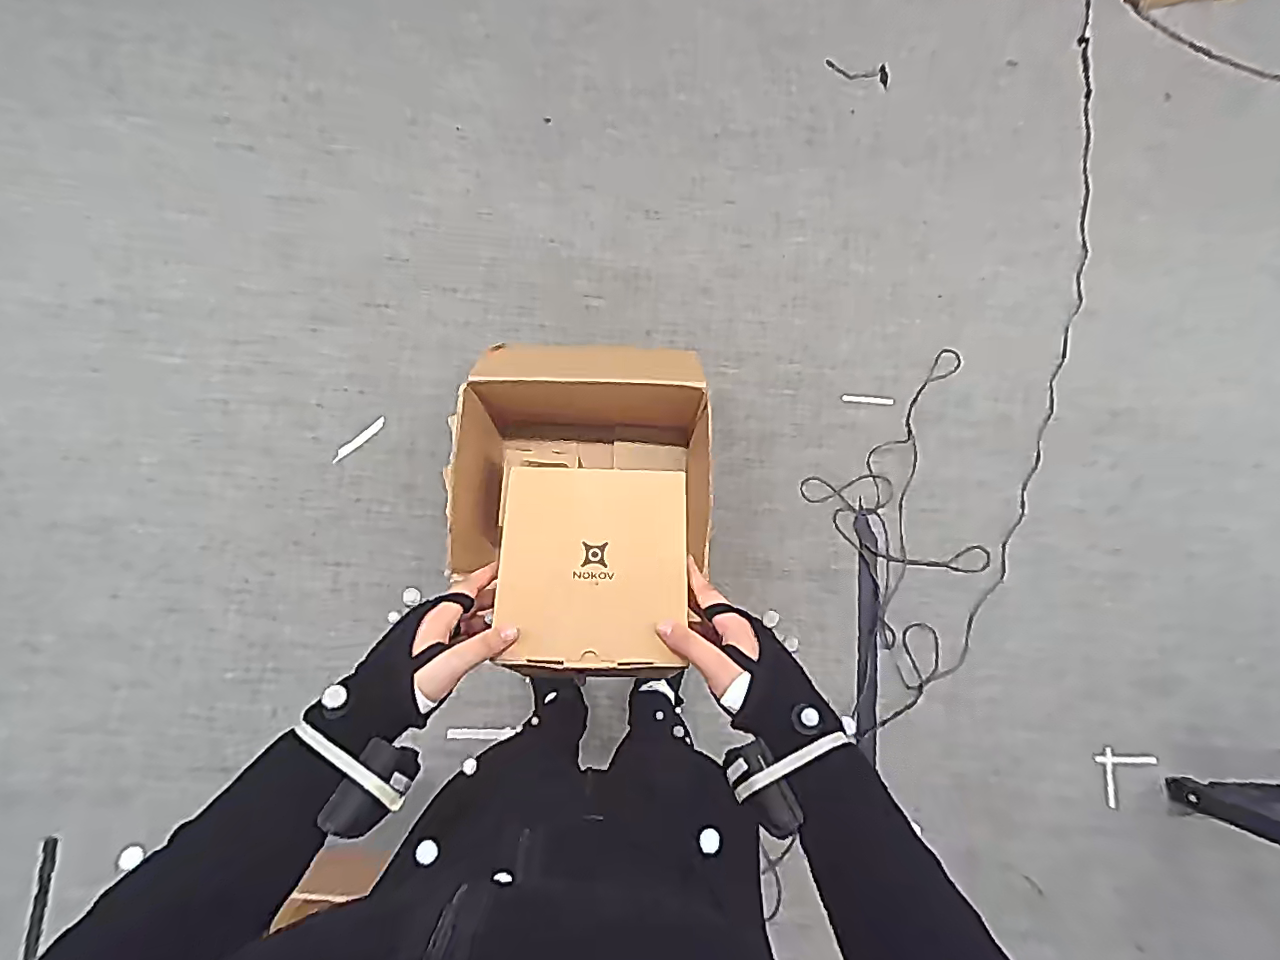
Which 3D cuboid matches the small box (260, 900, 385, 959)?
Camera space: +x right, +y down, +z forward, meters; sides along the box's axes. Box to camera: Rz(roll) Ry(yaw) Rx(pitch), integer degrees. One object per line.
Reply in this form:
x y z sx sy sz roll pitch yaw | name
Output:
-0.636 0.980 1.078 0.179 0.176 0.168 7 81 -3 | small box
